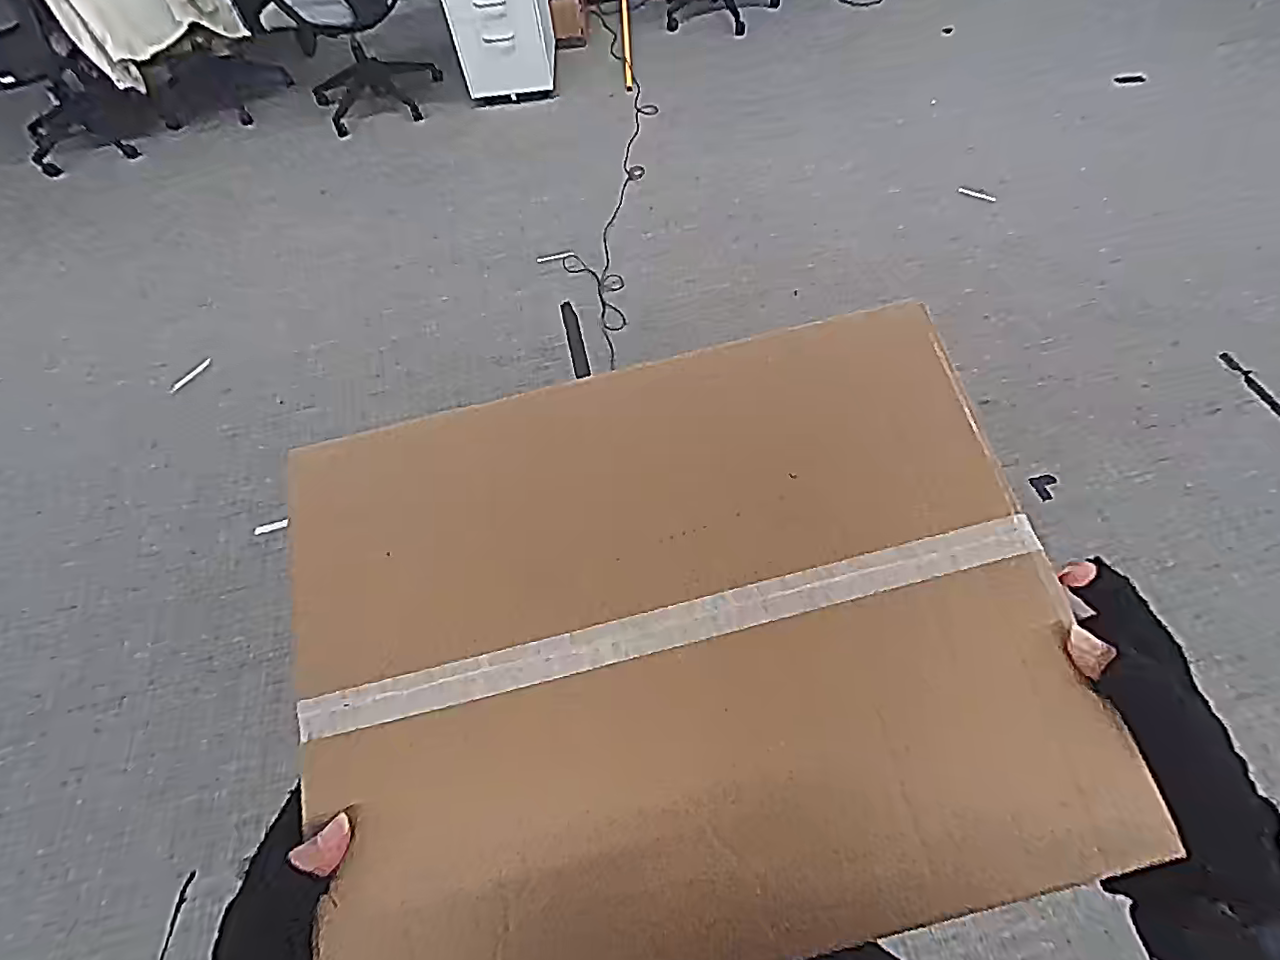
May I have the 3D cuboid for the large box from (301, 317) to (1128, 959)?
[{"bbox_3d":[0.024,0.126,0.445,0.408,0.320,0.320,-15,72,-1],"label":"large box"}]
